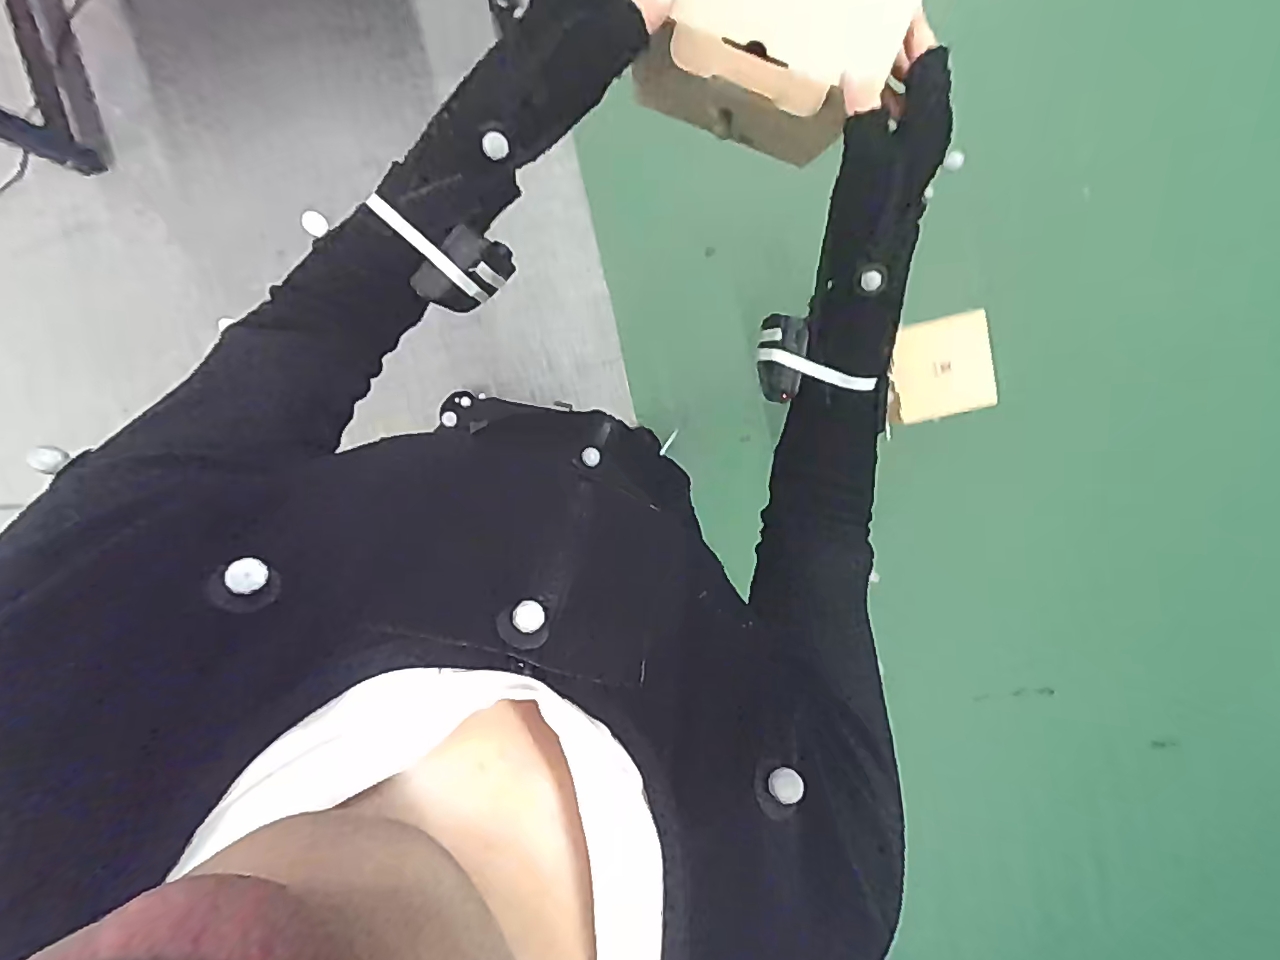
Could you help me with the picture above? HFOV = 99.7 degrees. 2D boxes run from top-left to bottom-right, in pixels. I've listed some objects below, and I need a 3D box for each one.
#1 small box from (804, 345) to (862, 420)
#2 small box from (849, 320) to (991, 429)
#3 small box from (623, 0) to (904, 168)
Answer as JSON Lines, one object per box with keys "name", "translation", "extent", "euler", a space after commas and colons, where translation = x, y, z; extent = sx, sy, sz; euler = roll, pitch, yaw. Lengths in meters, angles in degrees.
{"name": "small box", "translation": [0.525, -0.246, 1.365], "extent": [0.179, 0.176, 0.168], "euler": [-10, 98, 1]}
{"name": "small box", "translation": [0.531, -0.199, 1.041], "extent": [0.179, 0.176, 0.168], "euler": [-13, 98, 1]}
{"name": "small box", "translation": [0.091, -0.361, 0.388], "extent": [0.168, 0.176, 0.179], "euler": [19, 107, -5]}
